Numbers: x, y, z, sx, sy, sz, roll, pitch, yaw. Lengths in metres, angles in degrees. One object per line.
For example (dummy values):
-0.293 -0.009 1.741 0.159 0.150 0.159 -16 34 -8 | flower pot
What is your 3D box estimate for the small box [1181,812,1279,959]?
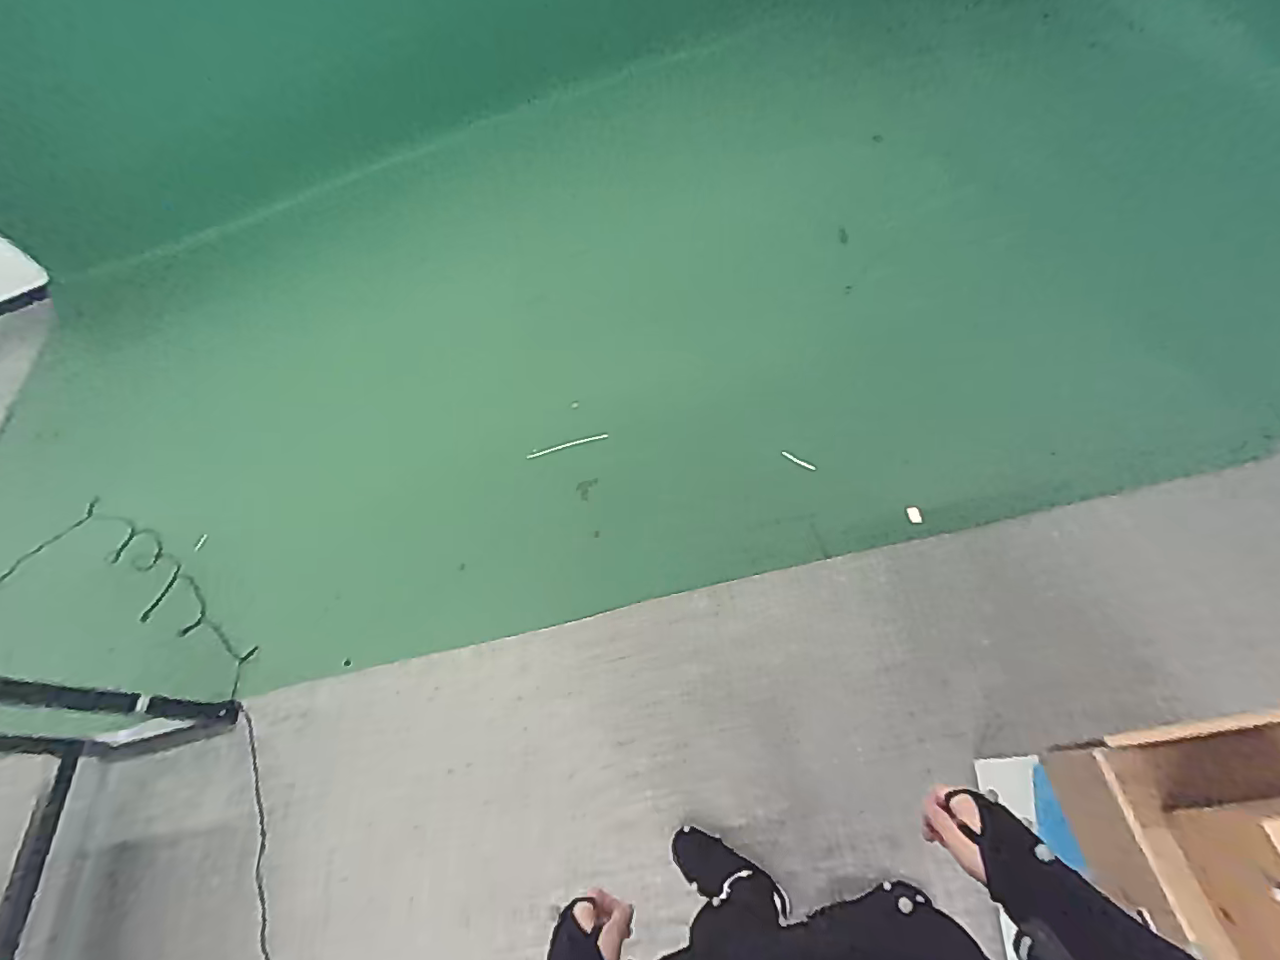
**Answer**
0.735 0.440 0.548 0.179 0.176 0.168 -13 58 7 | small box
